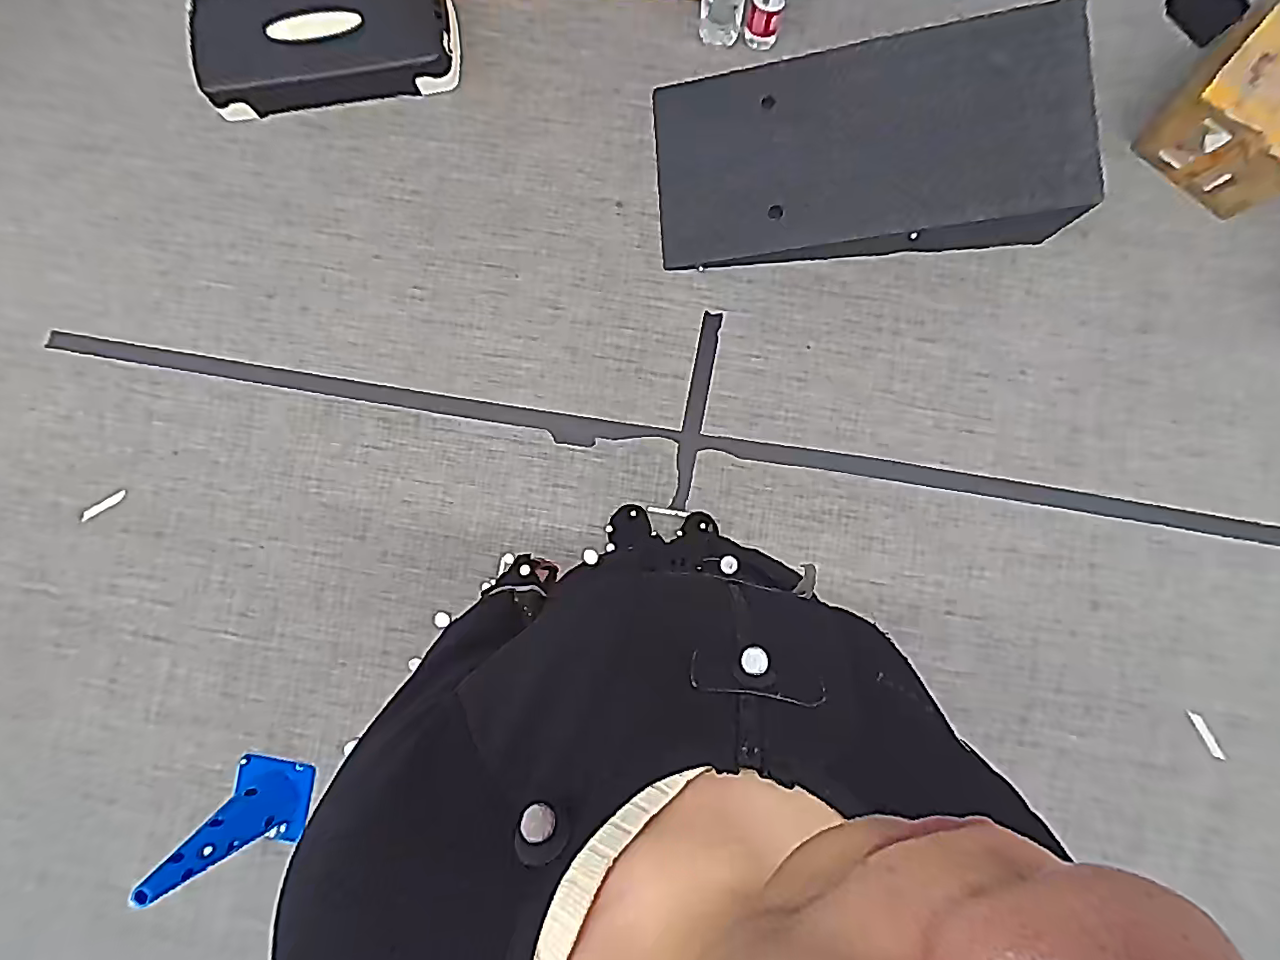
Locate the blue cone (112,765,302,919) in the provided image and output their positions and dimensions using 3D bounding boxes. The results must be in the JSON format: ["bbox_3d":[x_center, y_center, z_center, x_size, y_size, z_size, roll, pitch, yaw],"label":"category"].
[{"bbox_3d":[-0.966,0.824,1.208,0.192,0.380,0.193,11,88,3],"label":"blue cone"}]
